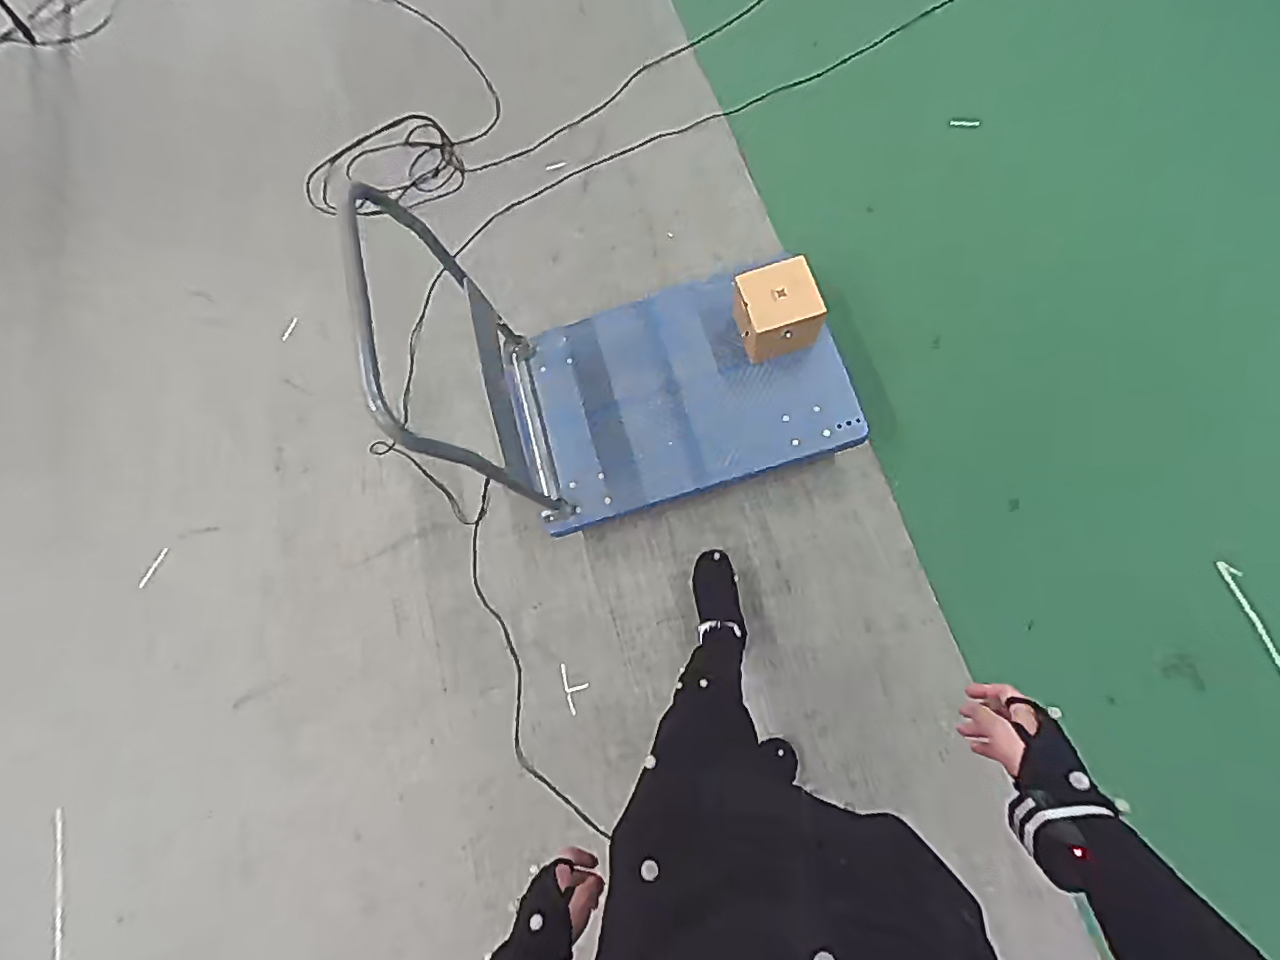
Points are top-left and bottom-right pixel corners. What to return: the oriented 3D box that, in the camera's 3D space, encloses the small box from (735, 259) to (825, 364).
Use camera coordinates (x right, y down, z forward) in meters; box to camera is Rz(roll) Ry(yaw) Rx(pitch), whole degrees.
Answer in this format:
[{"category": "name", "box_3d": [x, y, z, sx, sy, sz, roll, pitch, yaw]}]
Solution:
[{"category": "small box", "box_3d": [0.346, -0.417, 1.370, 0.179, 0.176, 0.168, -16, 74, 4]}]
